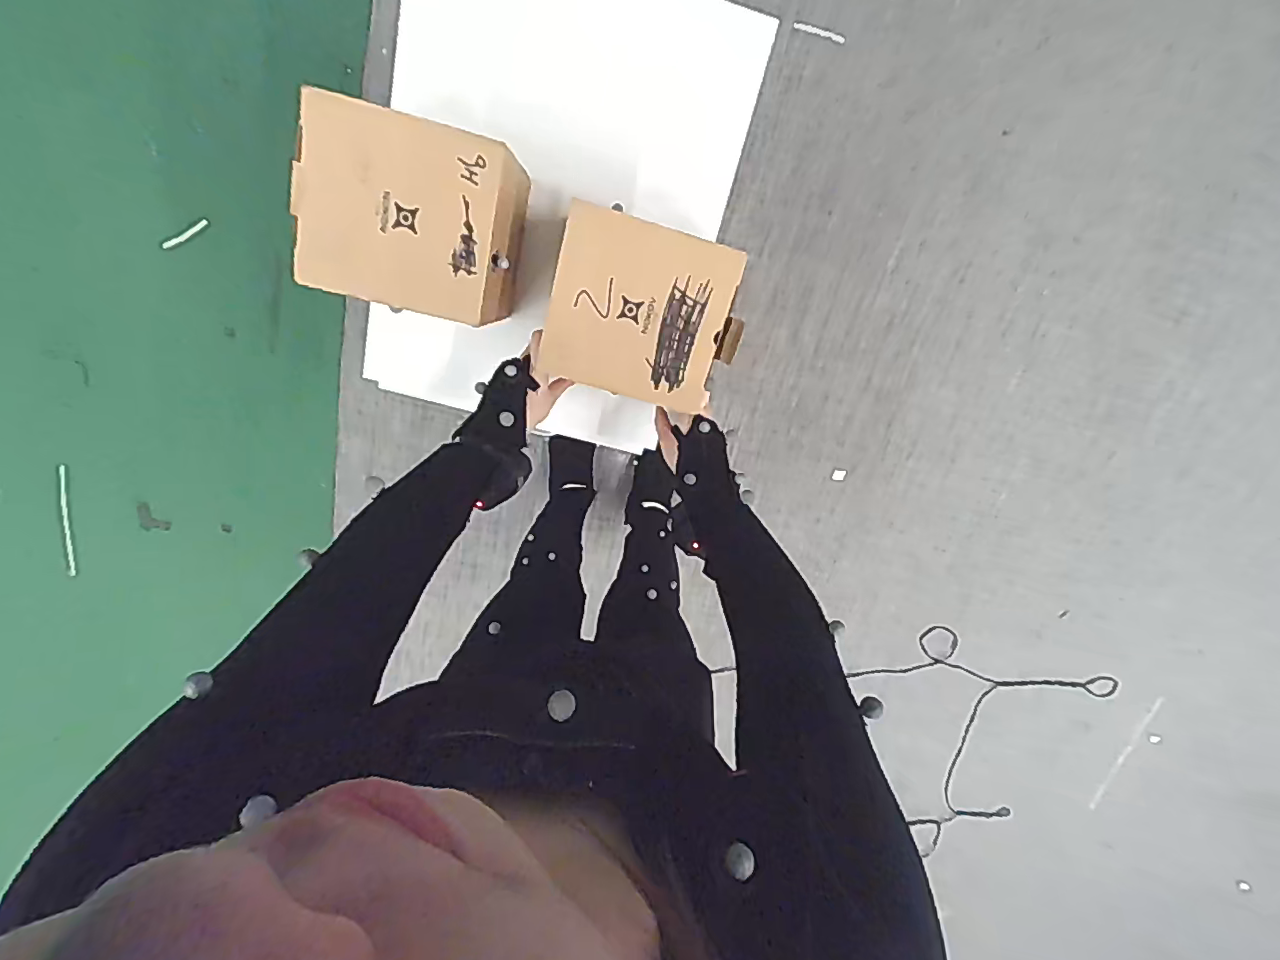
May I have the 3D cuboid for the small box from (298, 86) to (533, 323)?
[{"bbox_3d":[-0.224,-0.272,0.573,0.179,0.176,0.168,12,108,-7],"label":"small box"}]
